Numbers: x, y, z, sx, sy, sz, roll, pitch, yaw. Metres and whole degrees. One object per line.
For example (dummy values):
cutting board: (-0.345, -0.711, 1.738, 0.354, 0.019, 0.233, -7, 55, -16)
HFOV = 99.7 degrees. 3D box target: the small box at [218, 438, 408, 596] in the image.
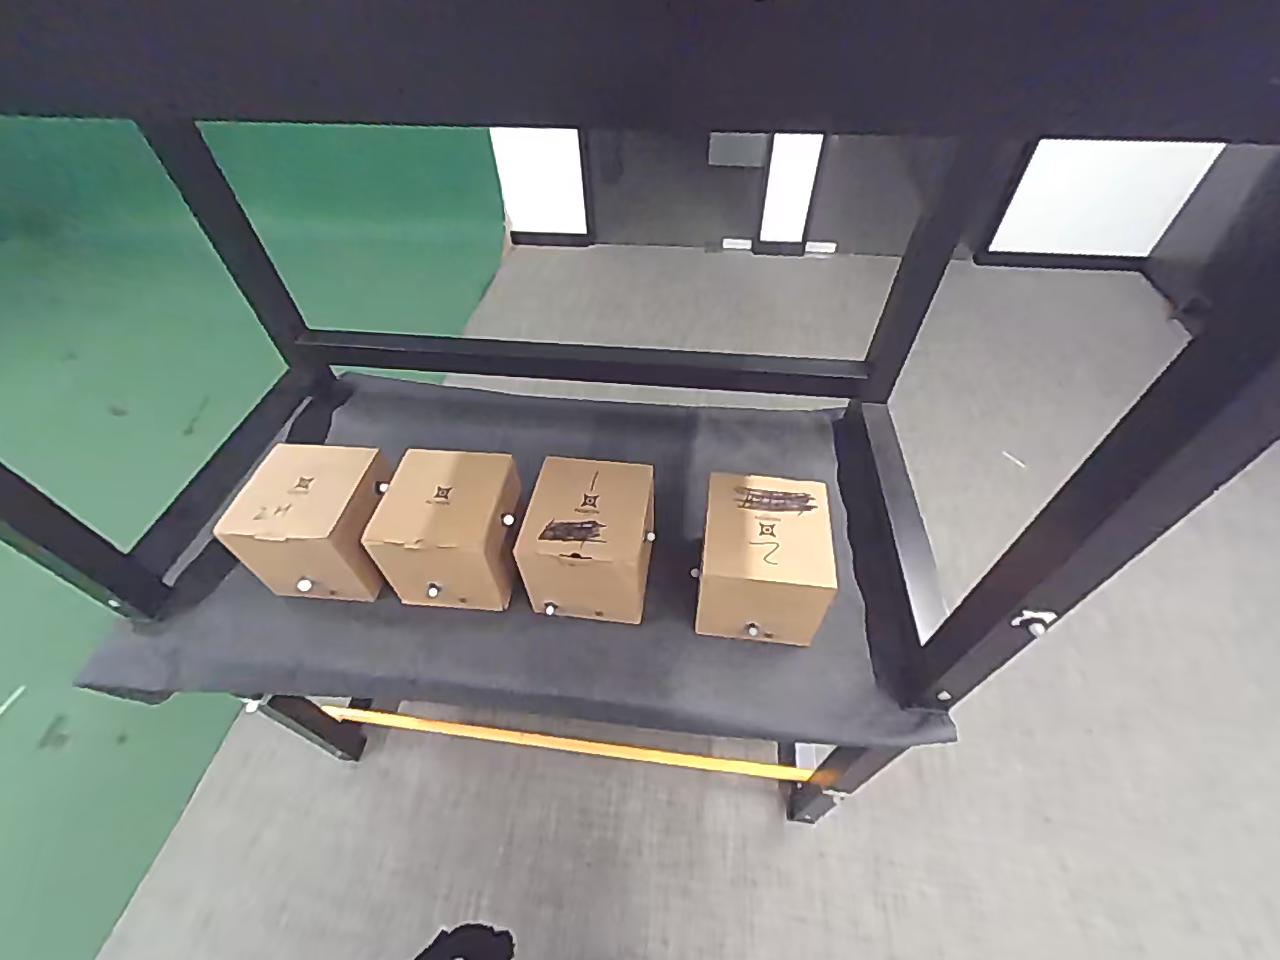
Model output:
small box: (-0.485, 0.058, 0.841, 0.168, 0.176, 0.179, 3, 49, 4)
